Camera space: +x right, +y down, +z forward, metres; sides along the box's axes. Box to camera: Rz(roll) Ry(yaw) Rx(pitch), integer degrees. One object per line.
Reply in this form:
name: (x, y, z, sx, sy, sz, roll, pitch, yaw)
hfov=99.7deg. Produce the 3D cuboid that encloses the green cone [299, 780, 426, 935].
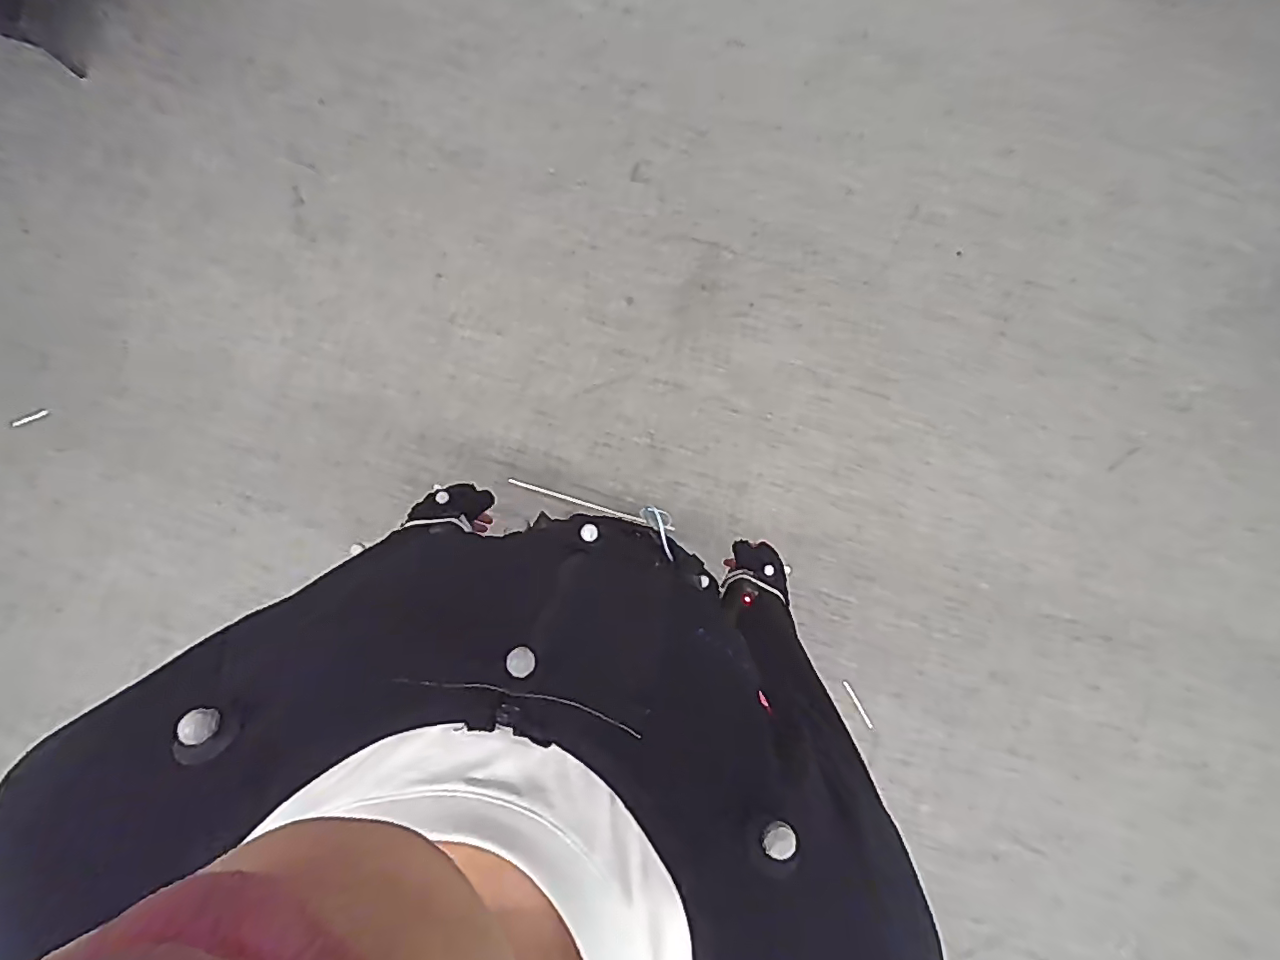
green cone: (-0.682, 0.908, 1.268, 0.202, 0.368, 0.200, 16, 87, -1)
